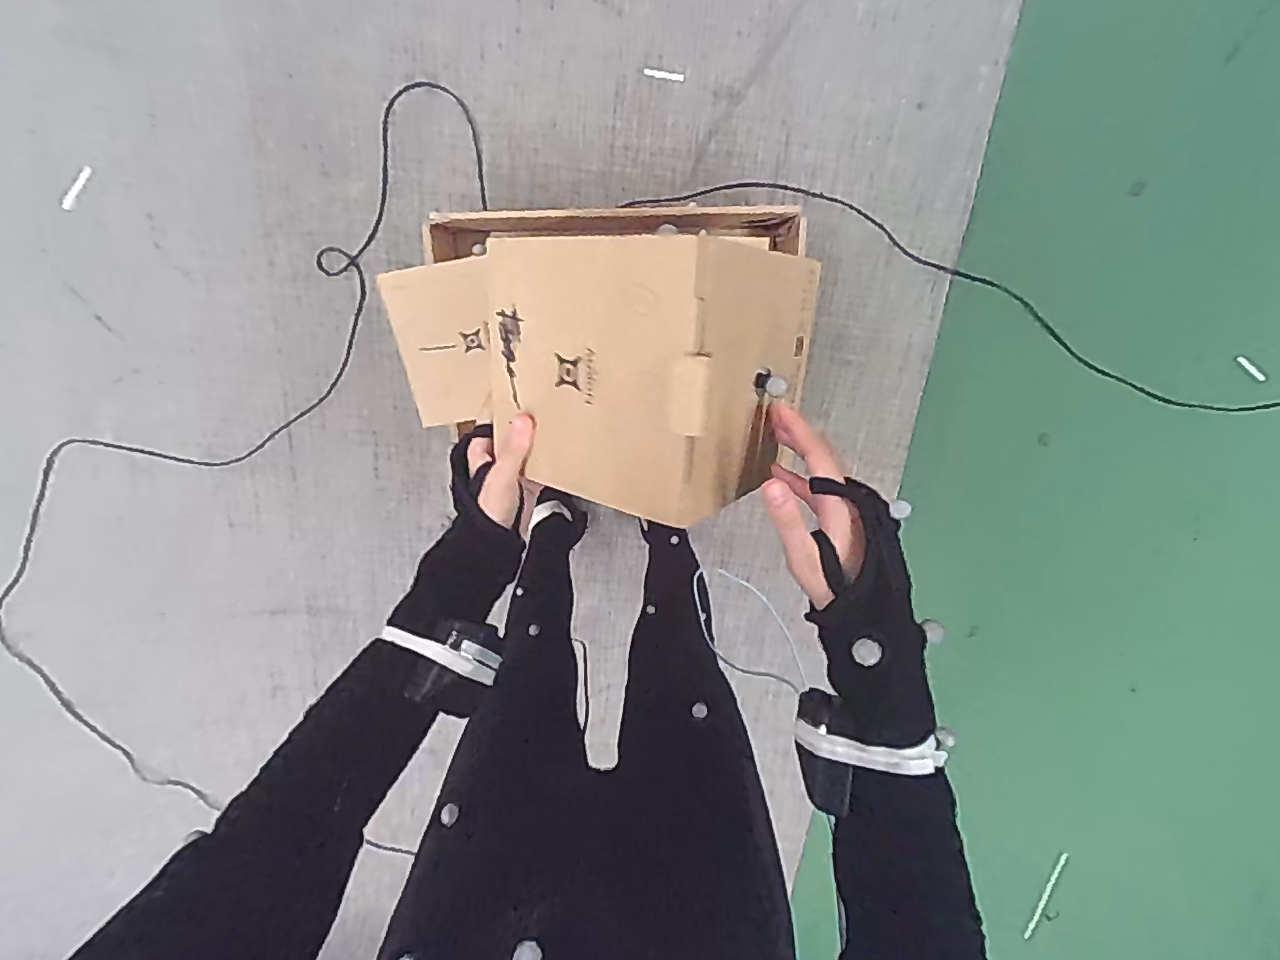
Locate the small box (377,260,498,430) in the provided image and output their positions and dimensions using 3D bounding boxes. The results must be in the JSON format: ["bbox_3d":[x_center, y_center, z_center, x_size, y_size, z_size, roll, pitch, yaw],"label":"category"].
[{"bbox_3d":[-0.175,-0.173,0.651,0.179,0.176,0.168,-10,110,2],"label":"small box"}]

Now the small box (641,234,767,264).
[{"bbox_3d":[0.080,-0.257,0.797,0.168,0.176,0.179,1,110,-1],"label":"small box"}]

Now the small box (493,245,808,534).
[{"bbox_3d":[0.012,-0.083,0.414,0.179,0.176,0.168,17,114,30],"label":"small box"}]
